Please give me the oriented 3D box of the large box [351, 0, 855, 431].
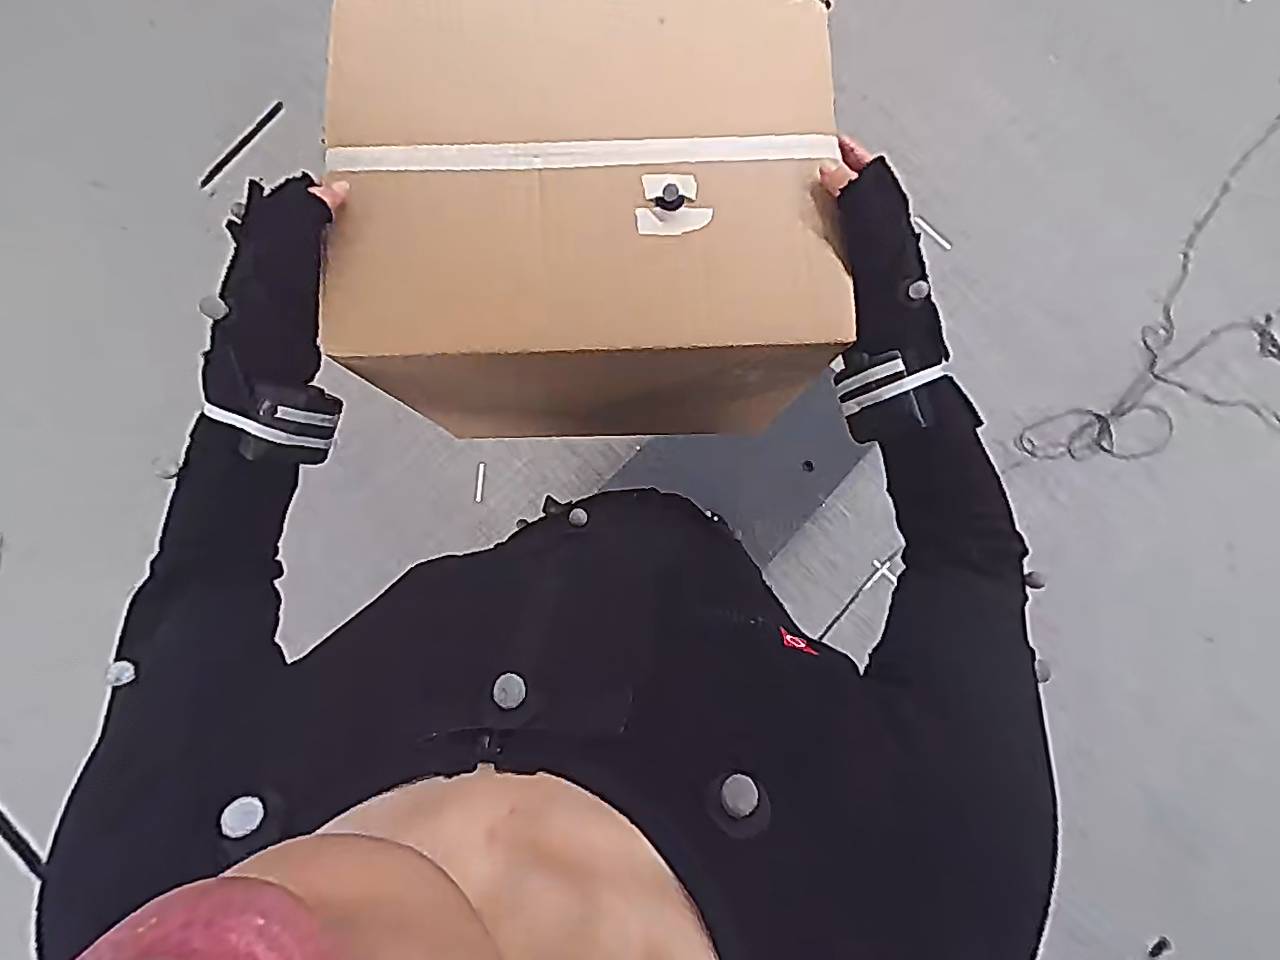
[{"bbox_3d":[-0.036,-0.242,0.590,0.408,0.320,0.320,-1,83,-1],"label":"large box"}]
